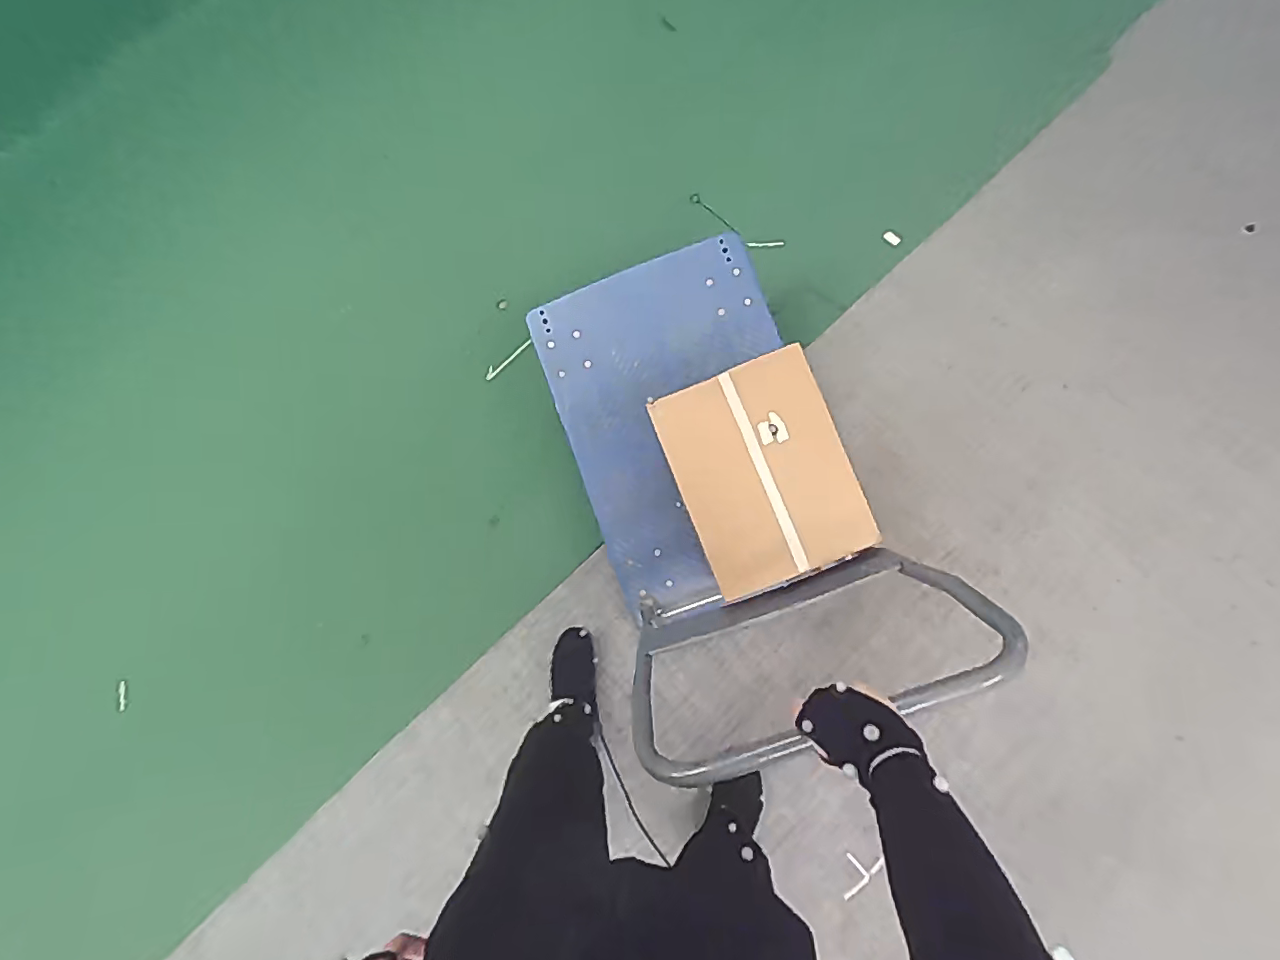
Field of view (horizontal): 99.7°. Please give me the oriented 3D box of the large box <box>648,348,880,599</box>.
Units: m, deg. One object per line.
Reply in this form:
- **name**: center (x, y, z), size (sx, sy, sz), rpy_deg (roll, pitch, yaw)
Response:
- **large box**: center (0.243, -0.006, 1.170), size (0.320, 0.320, 0.408), rpy_deg (-23, 85, 2)
